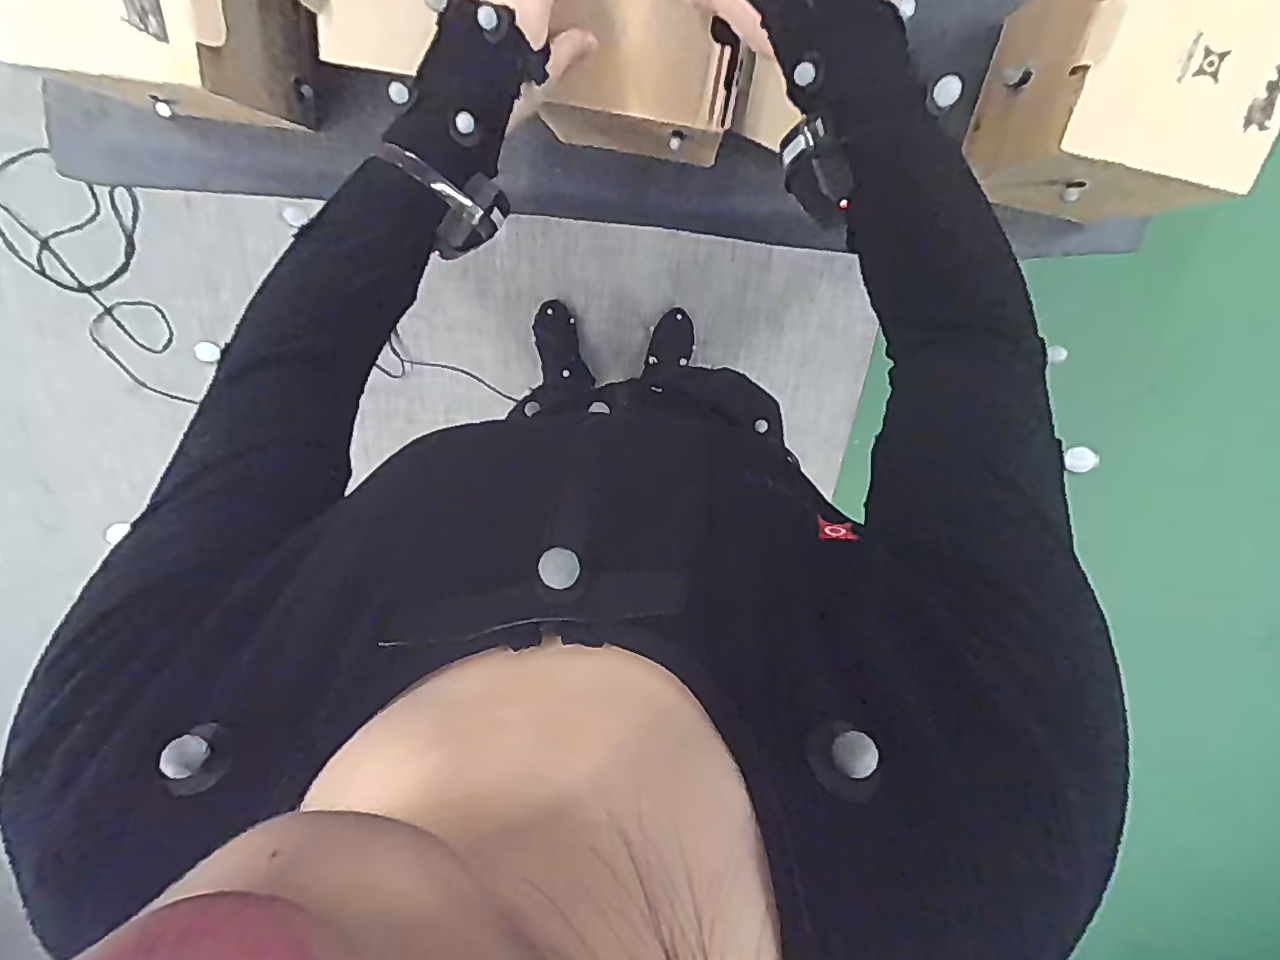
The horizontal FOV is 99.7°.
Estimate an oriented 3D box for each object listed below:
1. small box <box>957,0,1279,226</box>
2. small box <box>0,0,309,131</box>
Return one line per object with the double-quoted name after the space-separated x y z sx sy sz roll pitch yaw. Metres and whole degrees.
0.441 -0.349 0.503 0.179 0.176 0.168 11 107 -3 "small box"
-0.431 -0.435 0.491 0.179 0.176 0.168 6 112 -1 "small box"
